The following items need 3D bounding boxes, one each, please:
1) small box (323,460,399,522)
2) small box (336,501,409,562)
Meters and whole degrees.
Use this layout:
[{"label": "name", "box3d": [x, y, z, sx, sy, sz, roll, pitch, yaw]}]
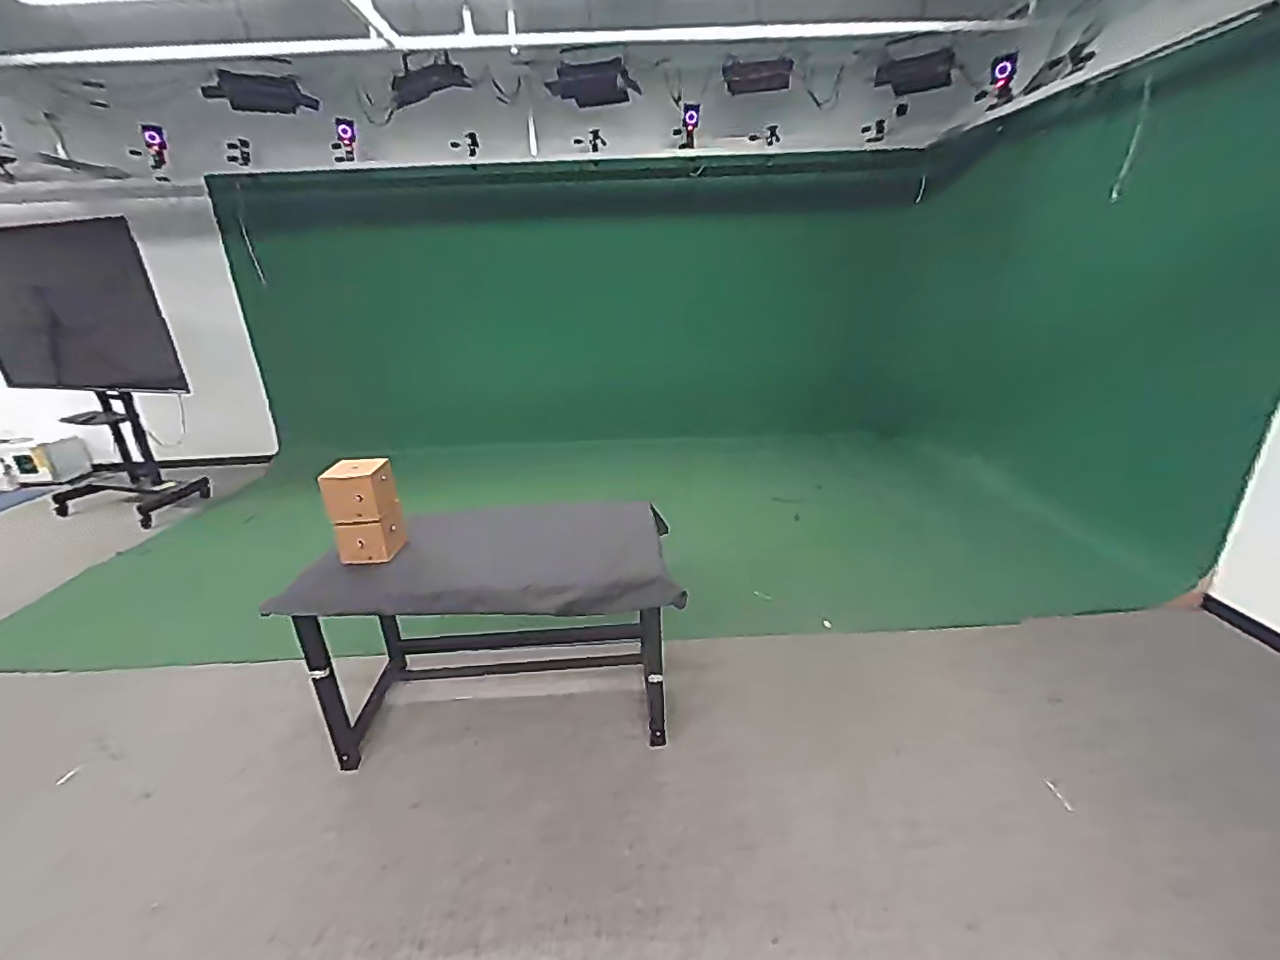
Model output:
[{"label": "small box", "box3d": [-0.954, 0.039, 1.869, 0.168, 0.176, 0.179, -2, 20, -3]}, {"label": "small box", "box3d": [-0.951, 0.187, 1.939, 0.168, 0.176, 0.179, -1, 21, 0]}]
